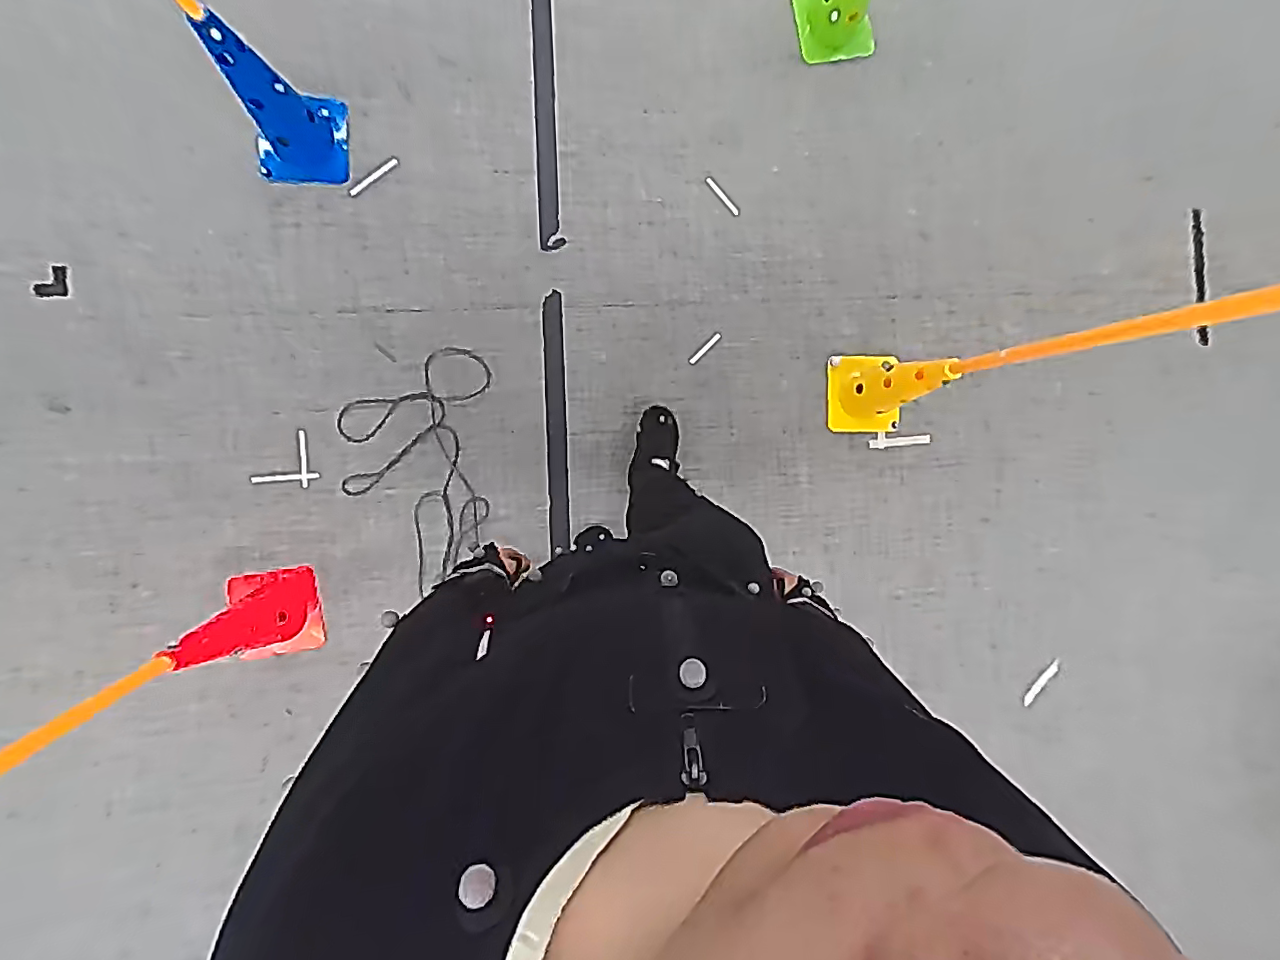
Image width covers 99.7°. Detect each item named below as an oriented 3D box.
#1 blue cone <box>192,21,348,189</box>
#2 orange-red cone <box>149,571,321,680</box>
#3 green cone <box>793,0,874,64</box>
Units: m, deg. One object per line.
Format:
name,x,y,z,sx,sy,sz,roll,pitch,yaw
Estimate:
blue cone,-0.776,-0.788,1.116,0.193,0.380,0.192,0,91,-6
orange-red cone,-0.841,0.321,1.100,0.199,0.360,0.198,-8,92,-7
green cone,0.523,-1.191,1.239,0.200,0.368,0.202,-13,94,-6
